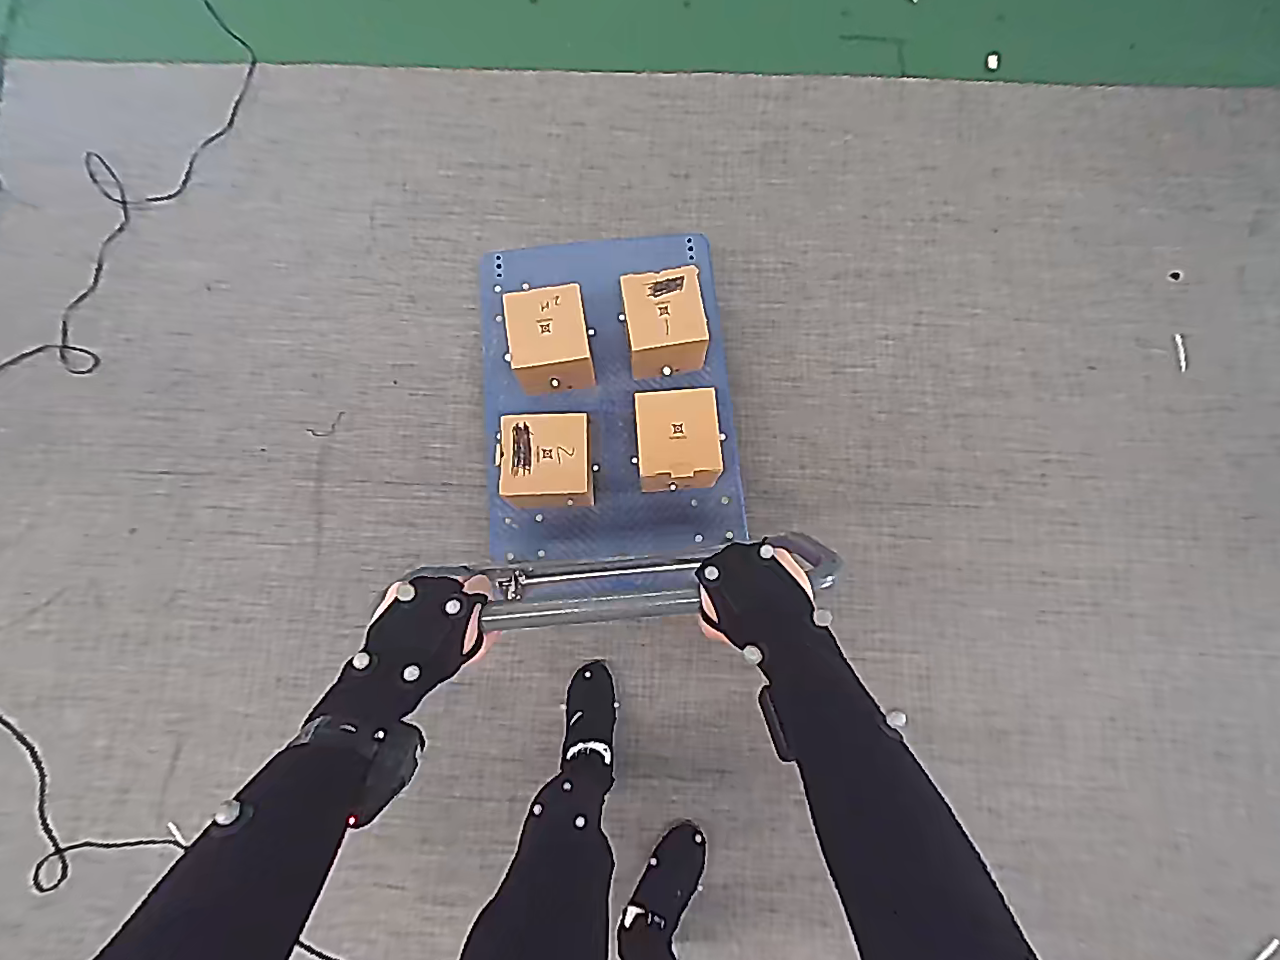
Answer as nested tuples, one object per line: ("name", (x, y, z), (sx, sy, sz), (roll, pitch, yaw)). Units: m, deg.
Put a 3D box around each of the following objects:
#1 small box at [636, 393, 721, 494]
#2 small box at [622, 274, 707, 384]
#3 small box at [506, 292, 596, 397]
("small box", (0.078, -0.075, 1.184), (0.168, 0.176, 0.179), (-5, 79, -1))
("small box", (0.052, -0.339, 1.238), (0.168, 0.176, 0.179), (-9, 79, 0))
("small box", (-0.197, -0.298, 1.232), (0.168, 0.176, 0.179), (-9, 78, -2))
